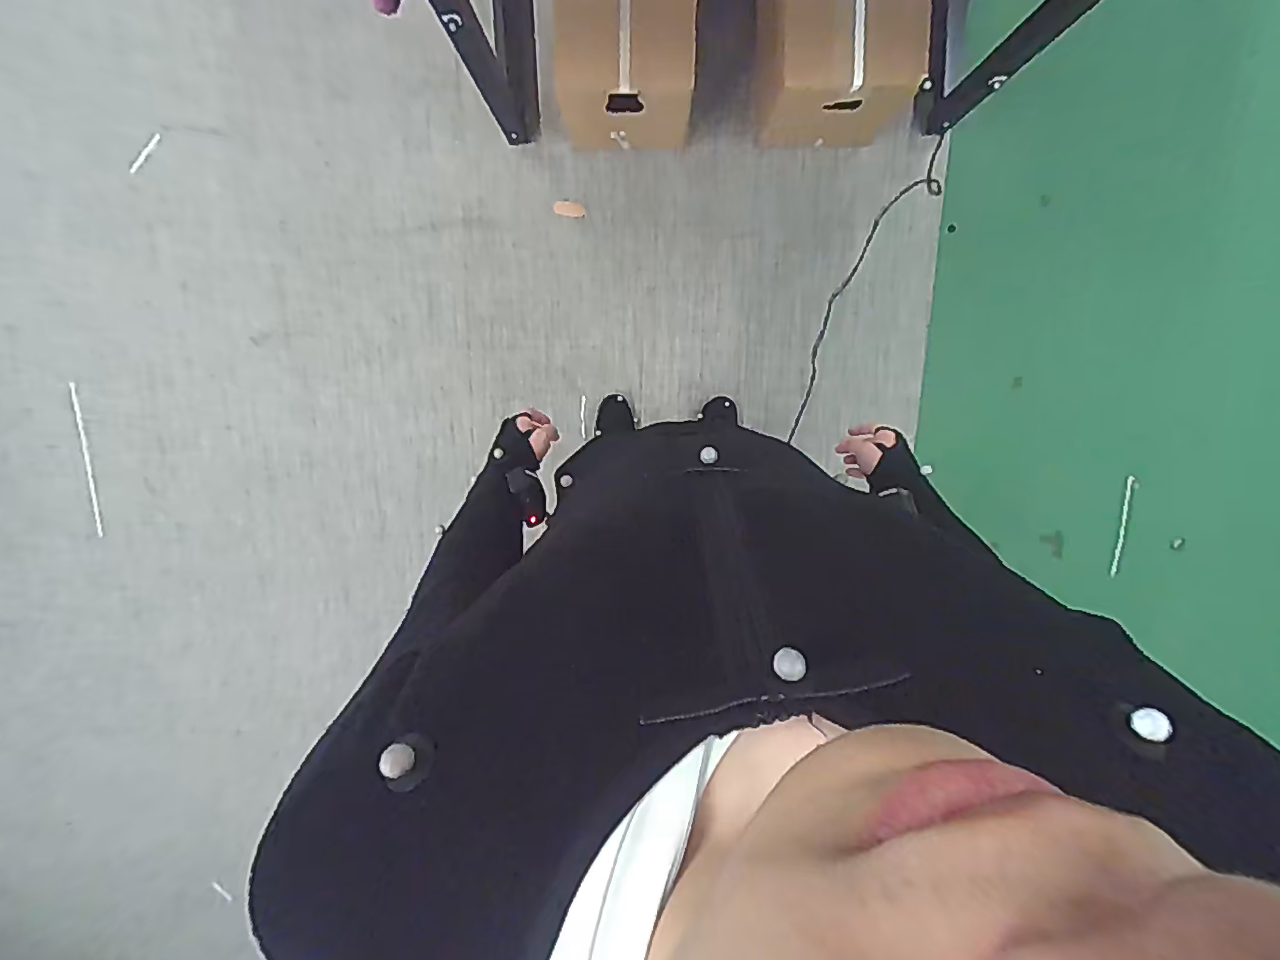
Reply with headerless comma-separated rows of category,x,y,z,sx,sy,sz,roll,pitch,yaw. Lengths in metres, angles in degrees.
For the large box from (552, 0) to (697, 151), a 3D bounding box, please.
large box,-0.031,-1.068,1.292,0.320,0.320,0.408,0,99,0
